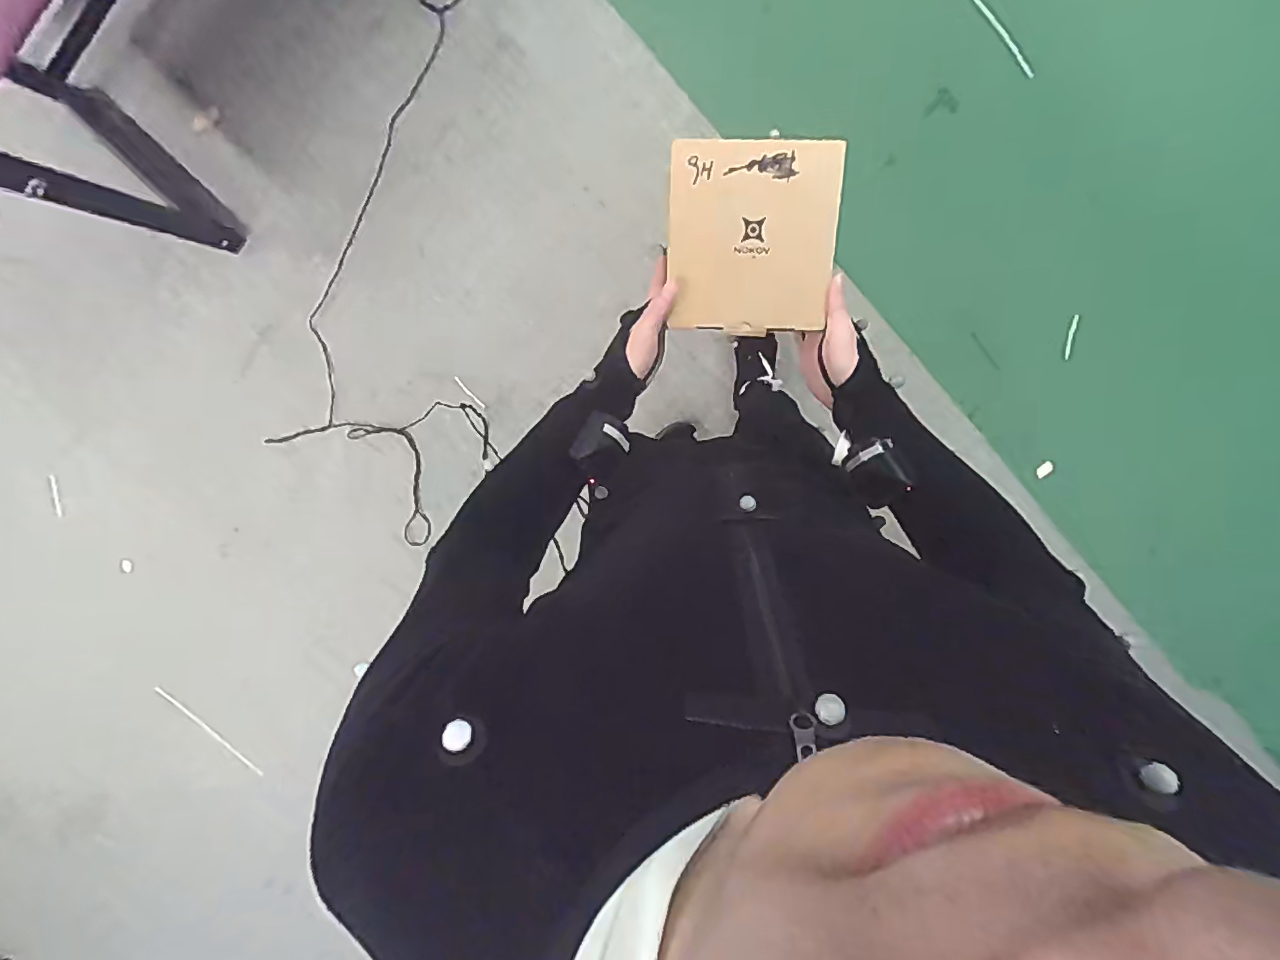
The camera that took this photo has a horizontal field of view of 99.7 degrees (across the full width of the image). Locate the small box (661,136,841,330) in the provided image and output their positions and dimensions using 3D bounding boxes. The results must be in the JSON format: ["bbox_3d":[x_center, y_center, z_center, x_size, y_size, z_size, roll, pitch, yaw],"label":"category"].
[{"bbox_3d":[0.109,-0.265,0.607,0.168,0.176,0.179,1,109,2],"label":"small box"}]
